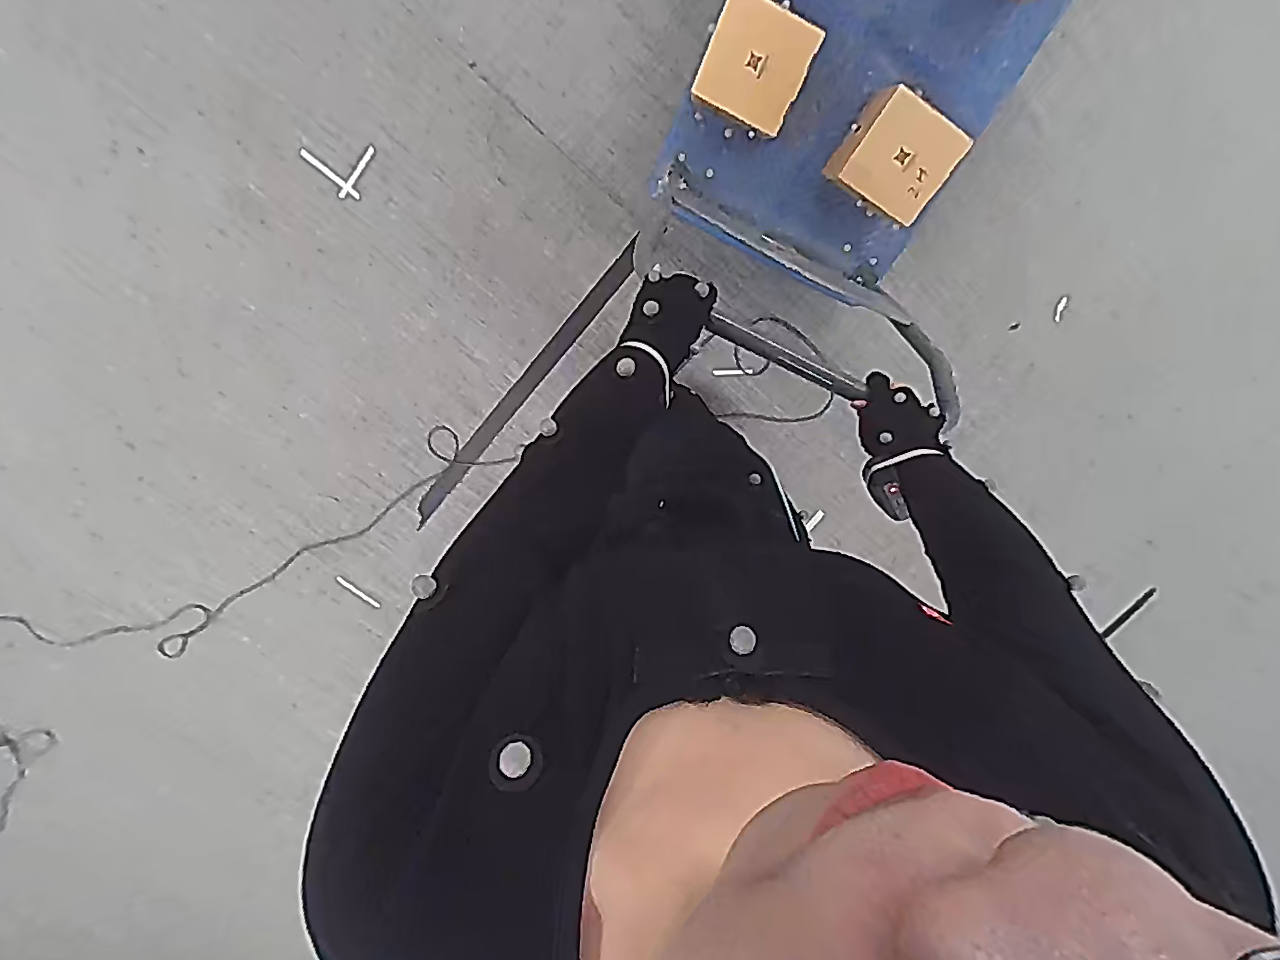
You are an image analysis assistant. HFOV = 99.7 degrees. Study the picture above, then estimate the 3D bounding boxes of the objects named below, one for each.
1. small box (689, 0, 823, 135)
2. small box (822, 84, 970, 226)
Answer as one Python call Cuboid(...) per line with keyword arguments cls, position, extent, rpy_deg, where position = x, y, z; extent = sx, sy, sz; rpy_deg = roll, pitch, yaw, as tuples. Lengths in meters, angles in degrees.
Cuboid(cls="small box", position=(0.202, -0.761, 0.999), extent=(0.179, 0.176, 0.168), rpy_deg=(22, 121, -10))
Cuboid(cls="small box", position=(0.484, -0.626, 1.055), extent=(0.179, 0.176, 0.168), rpy_deg=(29, 120, -12))
